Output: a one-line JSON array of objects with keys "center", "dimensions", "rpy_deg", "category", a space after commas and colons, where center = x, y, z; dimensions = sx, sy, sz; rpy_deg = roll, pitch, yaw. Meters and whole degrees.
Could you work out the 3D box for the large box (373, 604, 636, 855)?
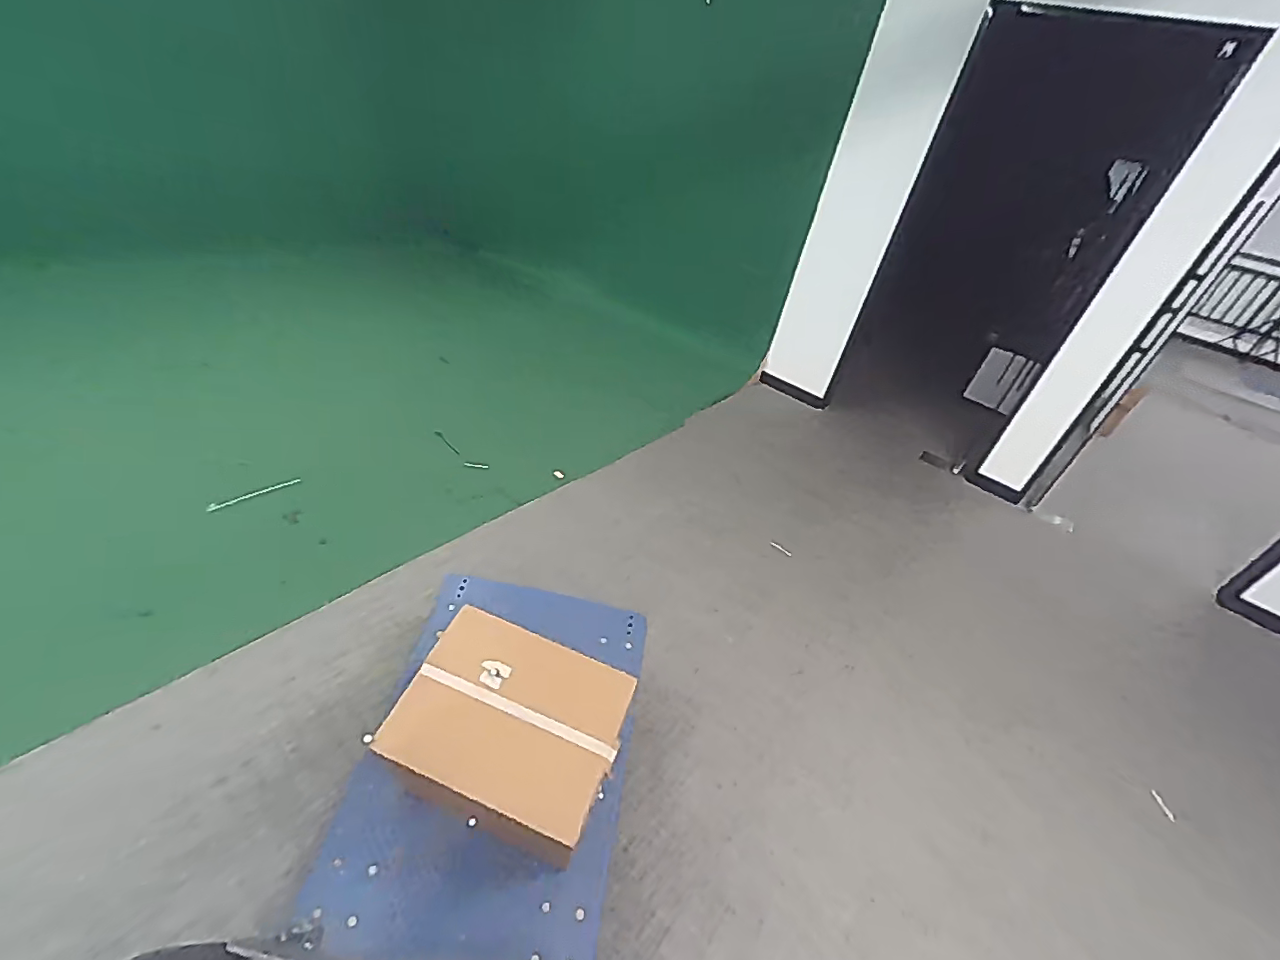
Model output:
[{"center": [-0.259, 0.530, 1.145], "dimensions": [0.408, 0.320, 0.320], "rpy_deg": [21, 49, 8], "category": "large box"}]
